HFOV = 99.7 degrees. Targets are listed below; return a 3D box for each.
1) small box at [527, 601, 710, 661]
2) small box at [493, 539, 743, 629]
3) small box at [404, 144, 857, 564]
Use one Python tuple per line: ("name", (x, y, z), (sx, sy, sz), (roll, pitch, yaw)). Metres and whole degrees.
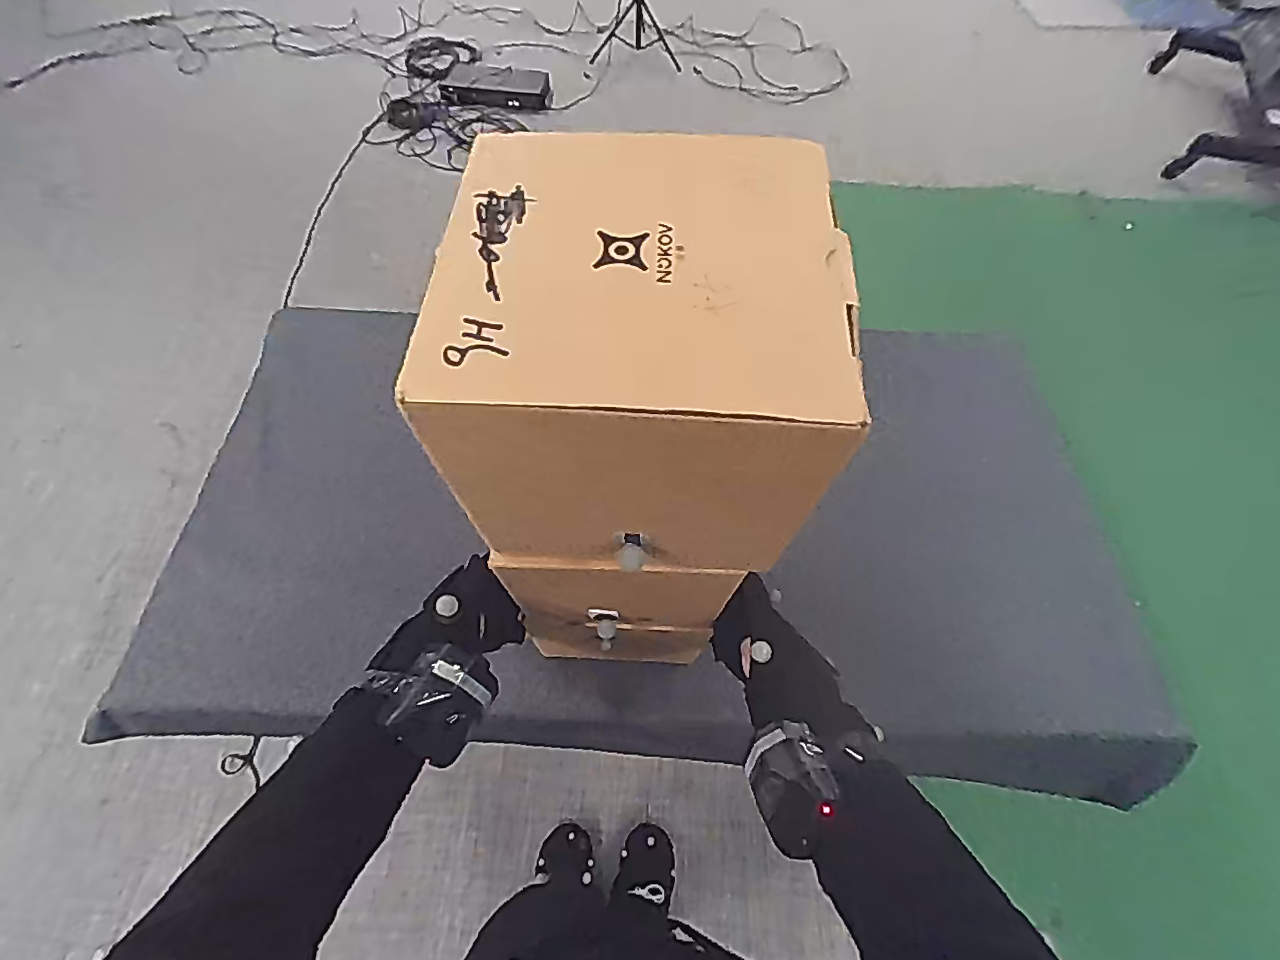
("small box", (-0.019, 0.106, 0.612), (0.179, 0.176, 0.168), (3, 63, -1))
("small box", (-0.014, 0.017, 0.457), (0.168, 0.176, 0.179), (2, 63, 0))
("small box", (-0.001, -0.057, 0.312), (0.179, 0.176, 0.168), (3, 62, 0))
